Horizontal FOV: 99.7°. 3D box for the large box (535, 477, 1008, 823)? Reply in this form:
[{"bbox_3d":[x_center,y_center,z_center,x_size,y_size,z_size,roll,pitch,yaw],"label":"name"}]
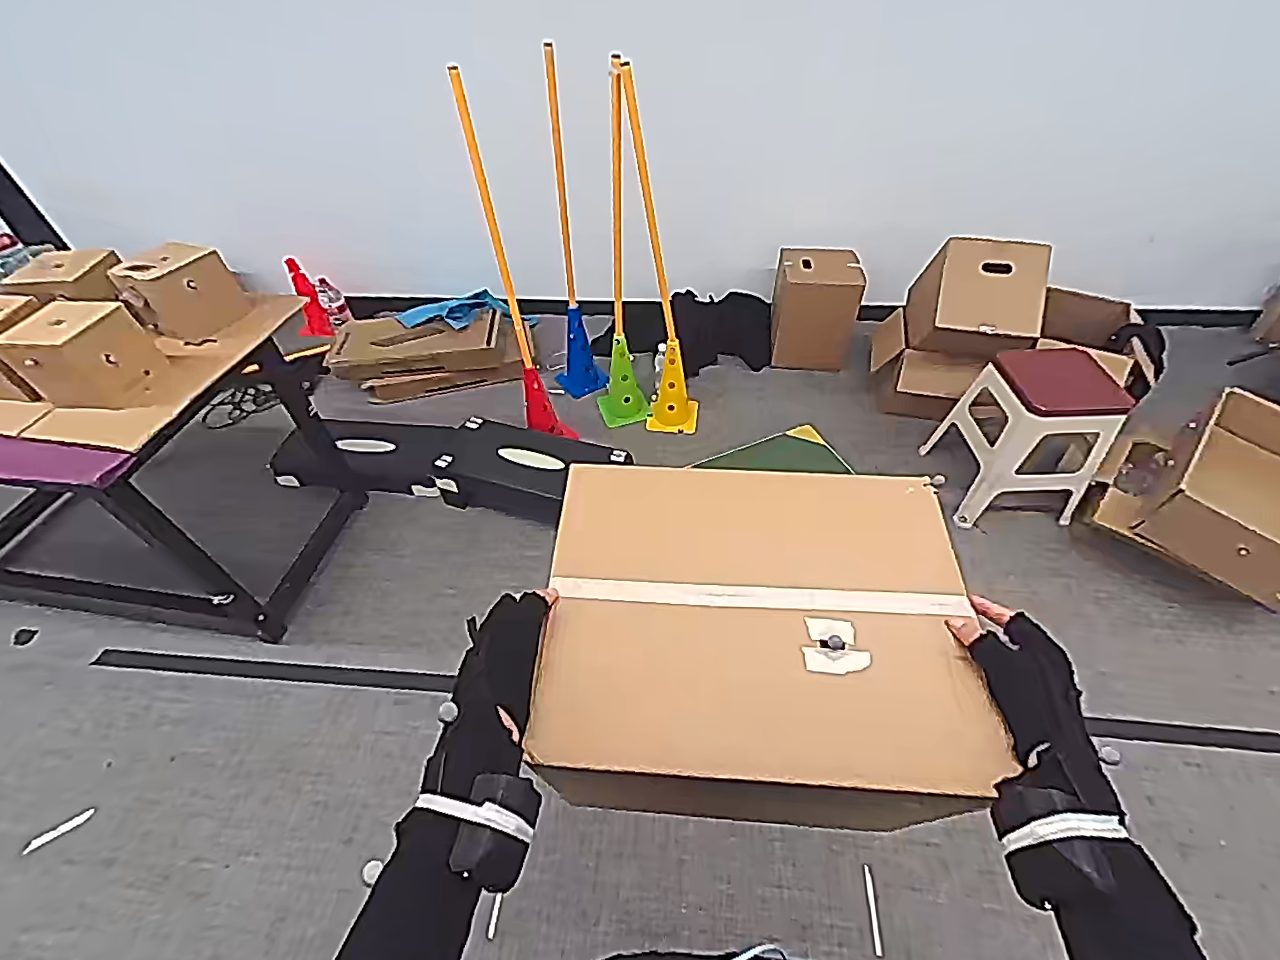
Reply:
[{"bbox_3d":[0.116,0.214,0.658,0.408,0.320,0.320,2,54,3],"label":"large box"}]
